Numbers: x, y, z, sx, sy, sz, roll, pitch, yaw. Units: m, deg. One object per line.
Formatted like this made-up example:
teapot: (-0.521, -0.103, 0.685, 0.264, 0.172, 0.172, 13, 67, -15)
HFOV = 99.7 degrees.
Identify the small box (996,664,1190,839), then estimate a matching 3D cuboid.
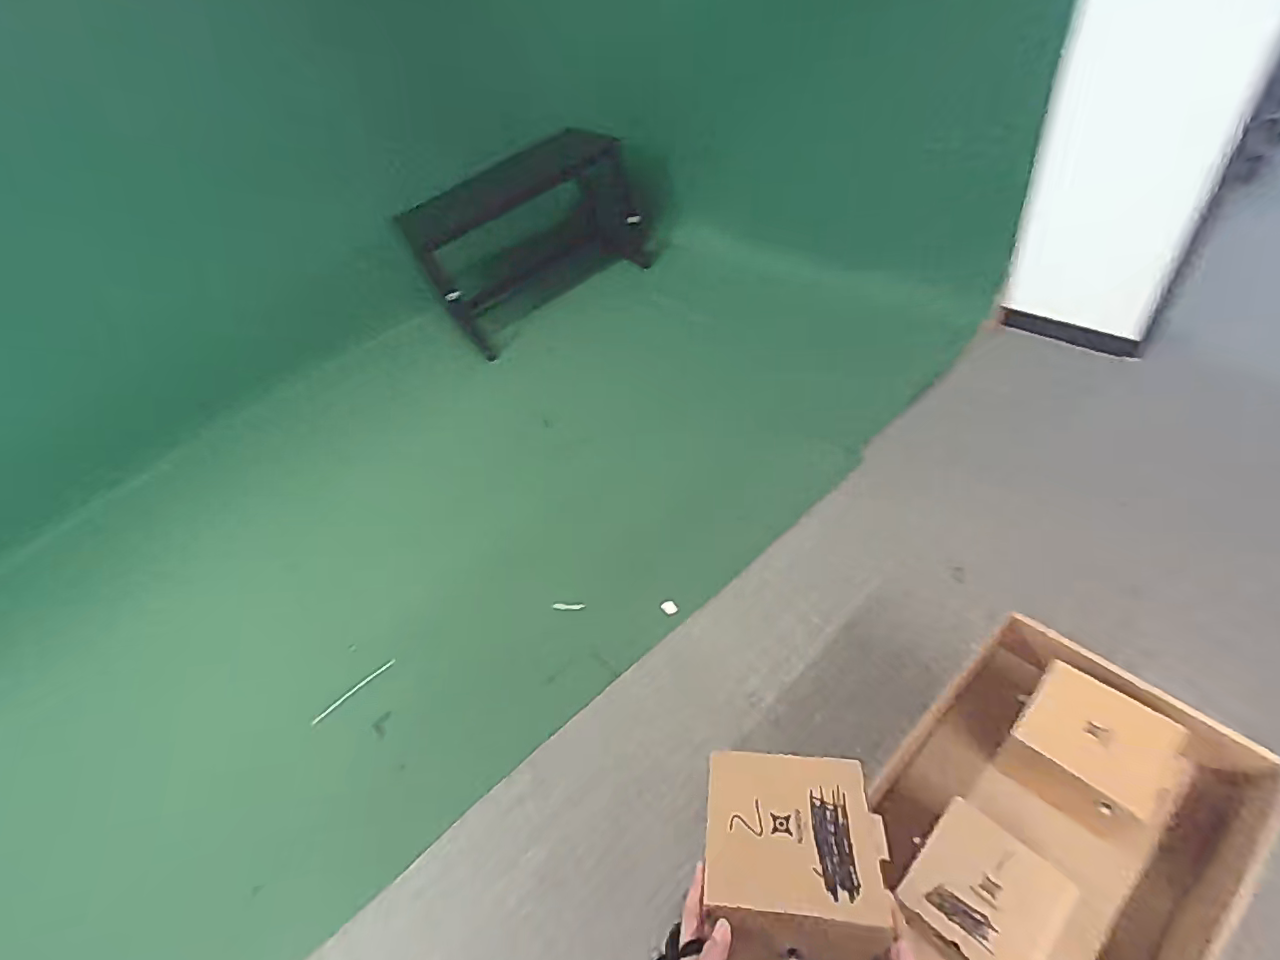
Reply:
small box: (0.721, 0.445, 0.884, 0.168, 0.176, 0.179, -42, 50, -20)
